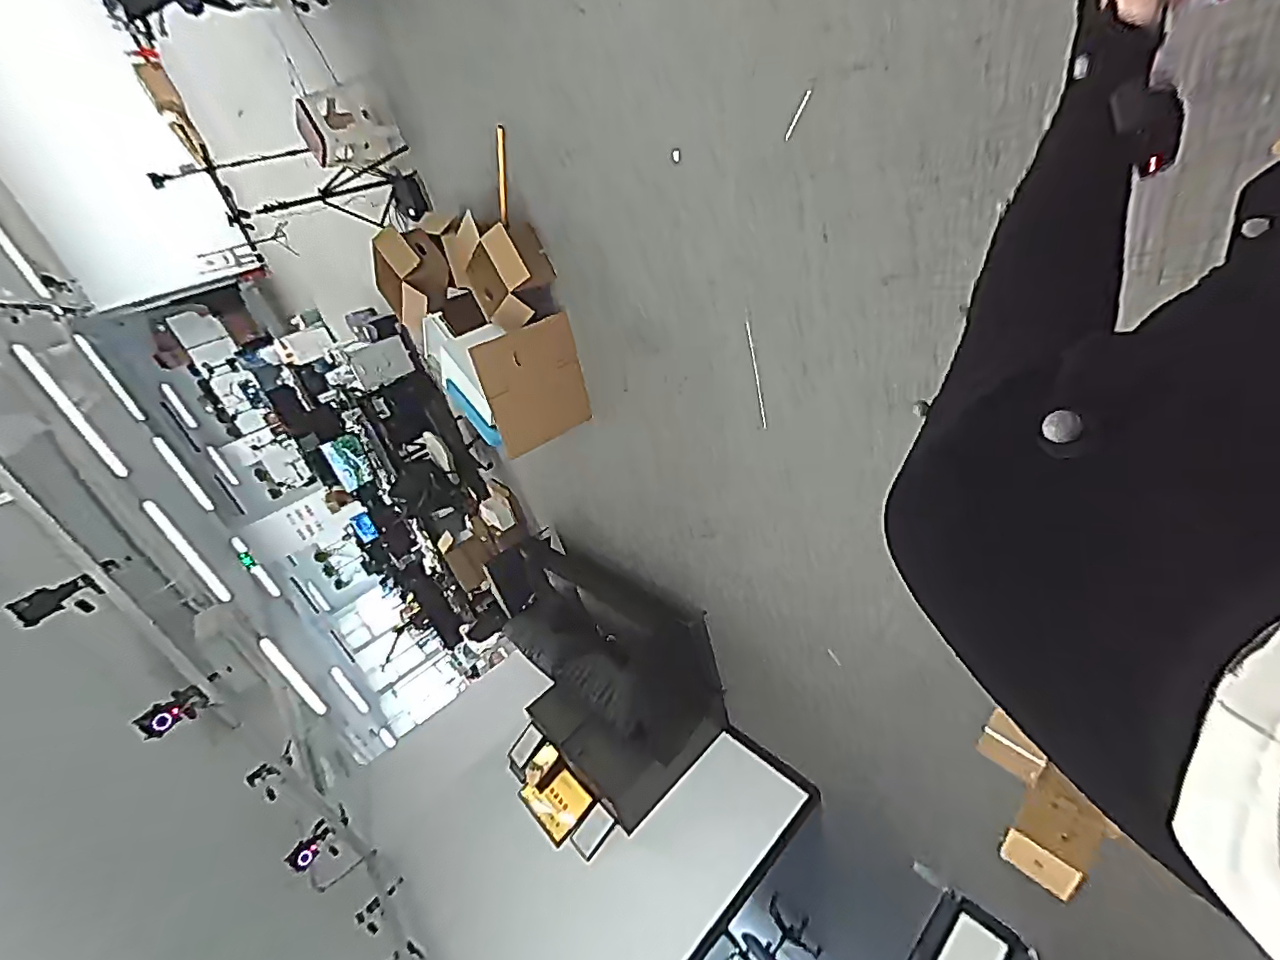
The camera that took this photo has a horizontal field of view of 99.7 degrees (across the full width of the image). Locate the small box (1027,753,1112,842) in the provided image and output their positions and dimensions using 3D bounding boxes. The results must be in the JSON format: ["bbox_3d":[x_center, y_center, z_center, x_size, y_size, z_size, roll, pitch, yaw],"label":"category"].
[{"bbox_3d":[1.262,0.960,1.606,0.168,0.176,0.179,26,137,43],"label":"small box"}]

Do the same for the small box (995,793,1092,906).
[{"bbox_3d":[1.141,1.035,1.527,0.168,0.176,0.179,24,138,42],"label":"small box"}]
